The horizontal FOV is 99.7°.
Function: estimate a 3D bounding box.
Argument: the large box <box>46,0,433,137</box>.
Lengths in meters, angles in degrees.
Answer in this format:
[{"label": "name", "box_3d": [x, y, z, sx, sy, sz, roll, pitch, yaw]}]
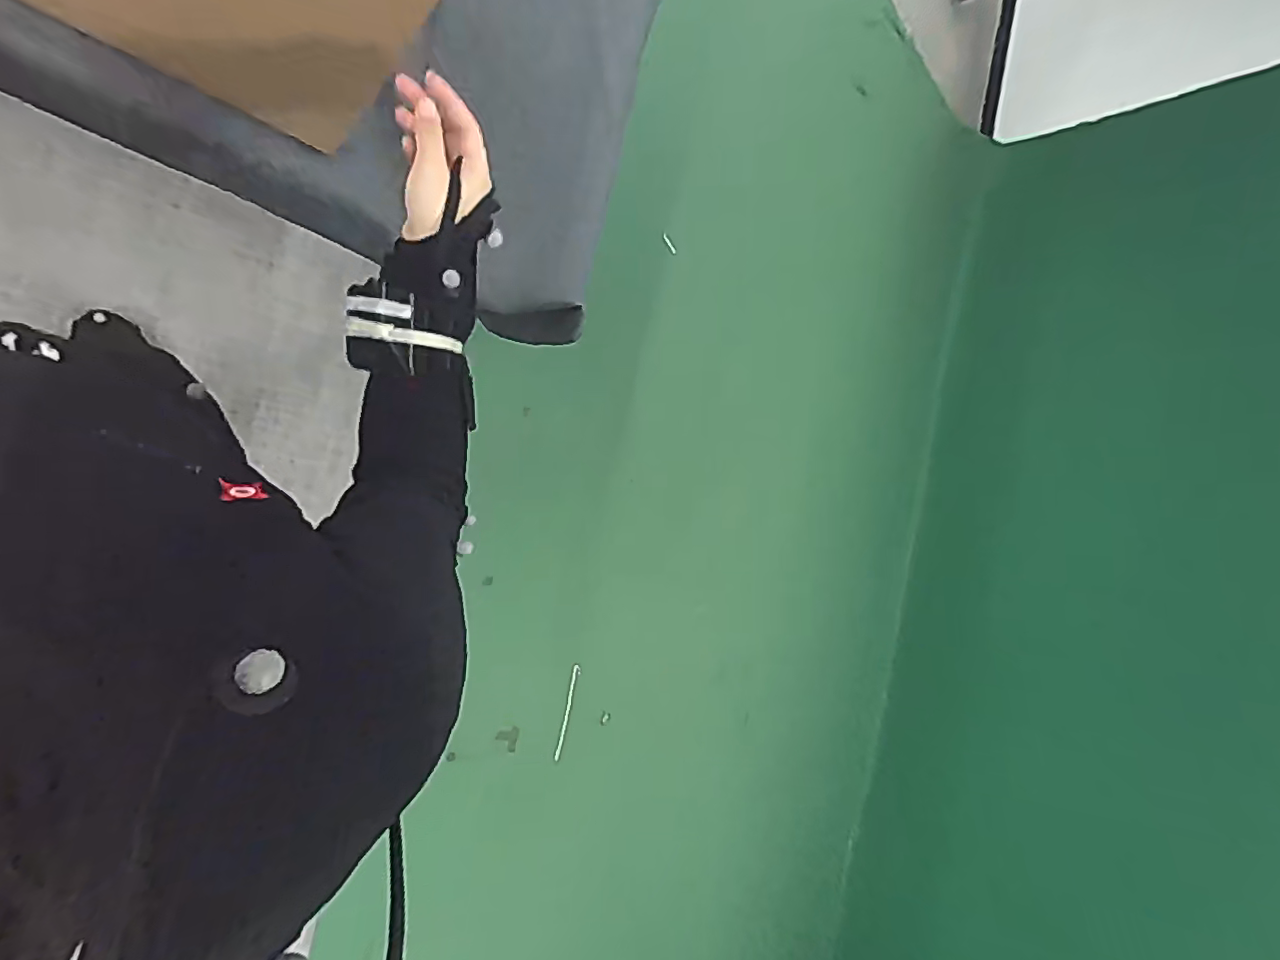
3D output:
[{"label": "large box", "box_3d": [-0.347, -0.518, 0.334, 0.408, 0.320, 0.320, 11, 89, -44]}]
